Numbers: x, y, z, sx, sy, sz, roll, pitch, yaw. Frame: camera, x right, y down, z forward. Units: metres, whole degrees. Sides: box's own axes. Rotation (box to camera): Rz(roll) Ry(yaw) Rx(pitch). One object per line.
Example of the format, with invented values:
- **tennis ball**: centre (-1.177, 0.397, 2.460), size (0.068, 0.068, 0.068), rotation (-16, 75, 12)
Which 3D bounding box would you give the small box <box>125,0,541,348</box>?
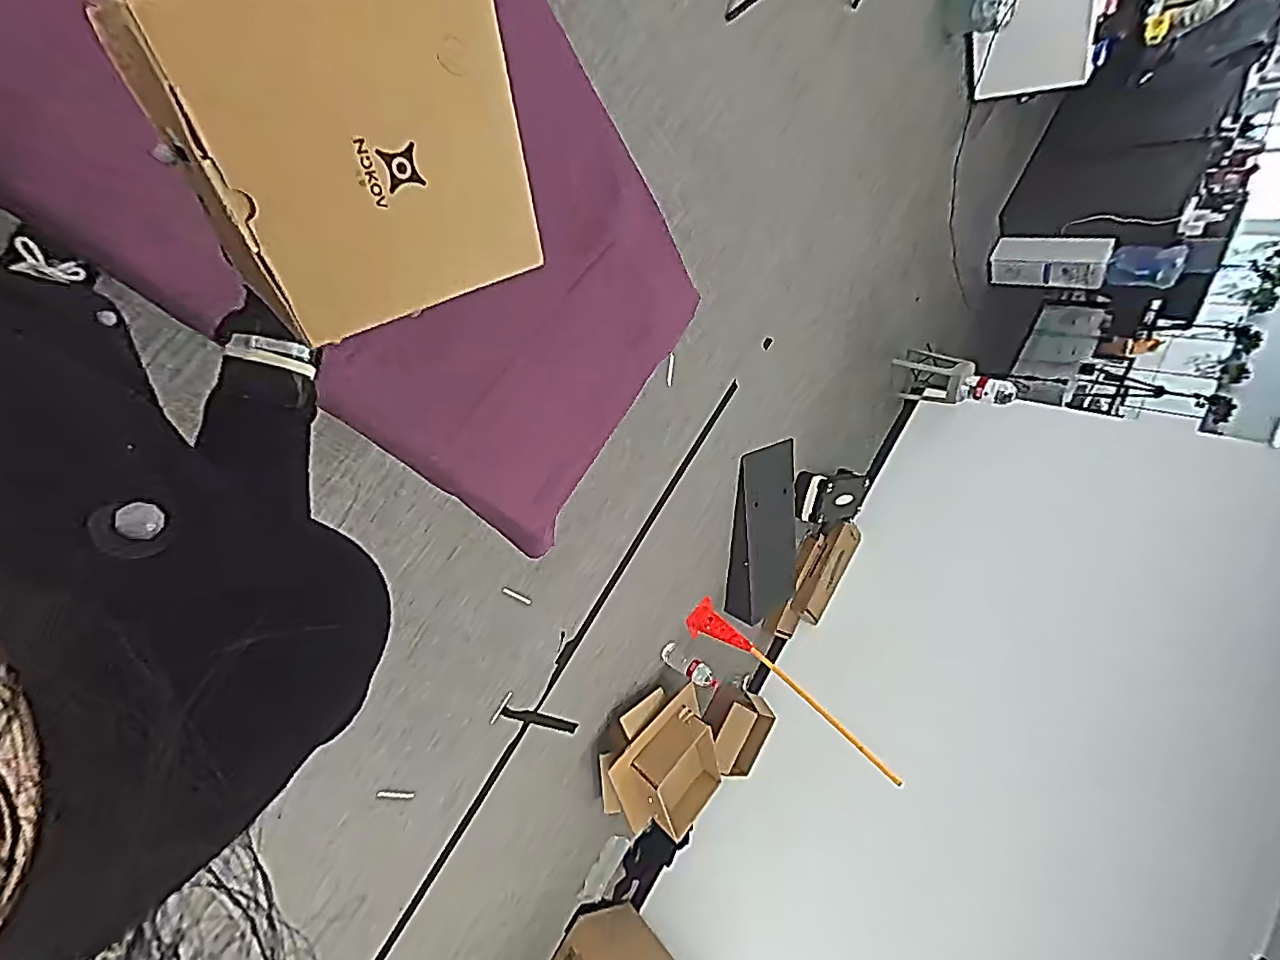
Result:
- **small box**: centre (-0.197, -0.222, 0.374), size (0.179, 0.176, 0.168), rotation (-33, 140, -27)
